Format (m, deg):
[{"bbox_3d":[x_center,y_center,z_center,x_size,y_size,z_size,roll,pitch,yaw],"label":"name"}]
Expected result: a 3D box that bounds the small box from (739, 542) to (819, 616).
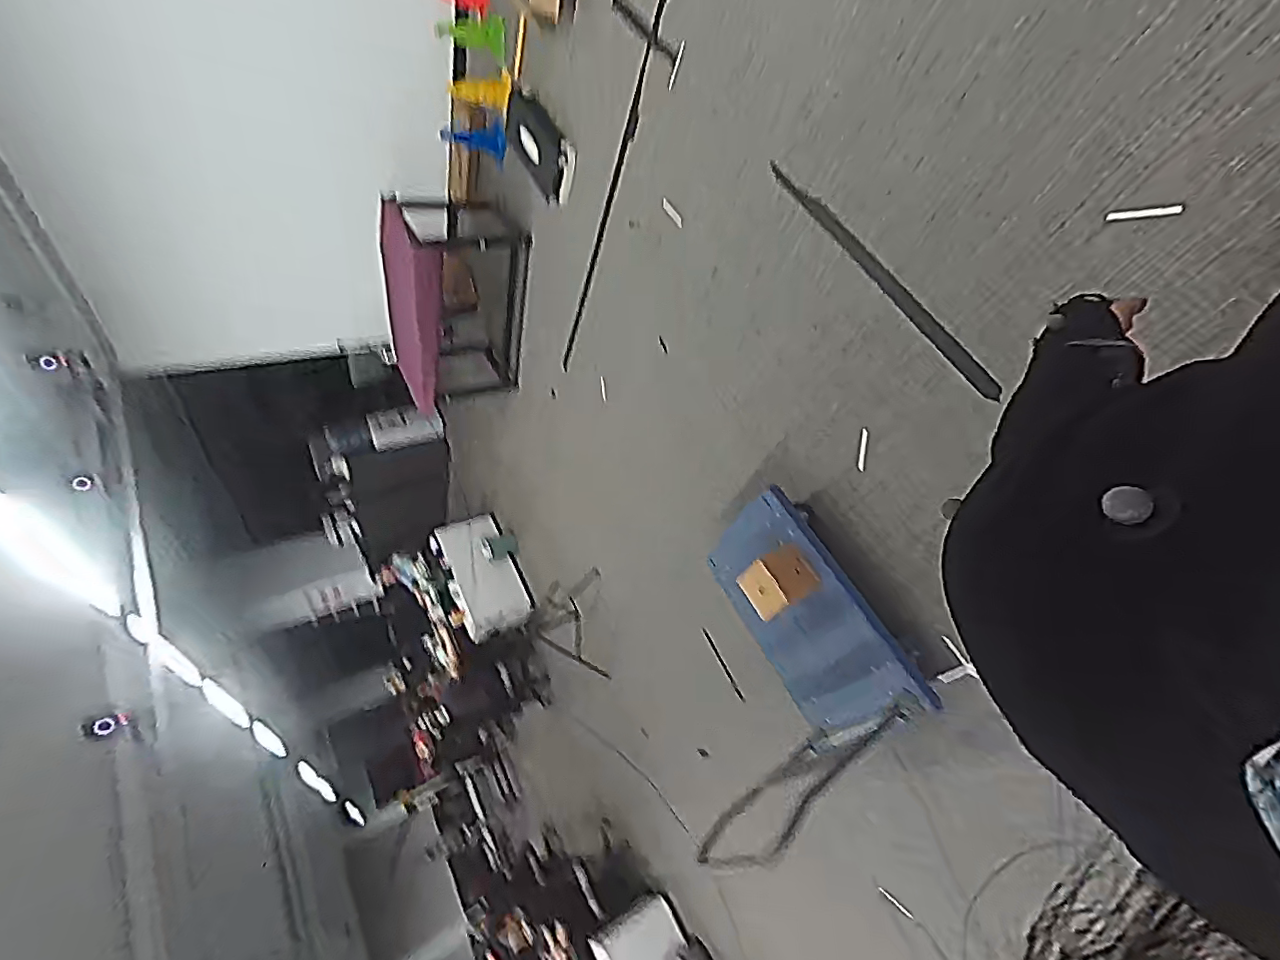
[{"bbox_3d":[0.482,0.343,1.873,0.168,0.176,0.179,58,146,24],"label":"small box"}]
